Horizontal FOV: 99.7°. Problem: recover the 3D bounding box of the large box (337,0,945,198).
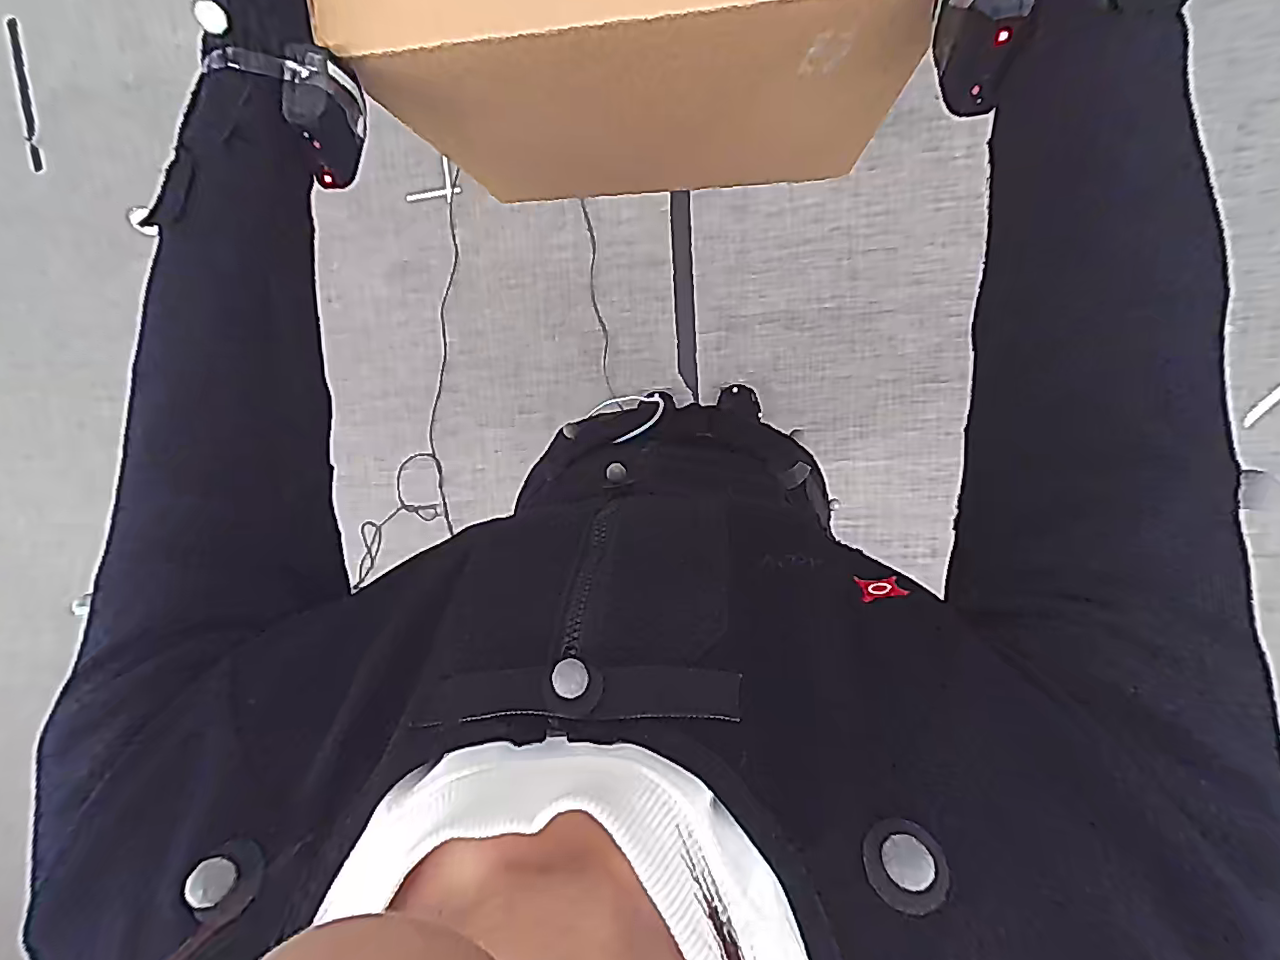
[{"bbox_3d":[0.007,-0.466,0.456,0.408,0.320,0.320,-1,101,7],"label":"large box"}]
